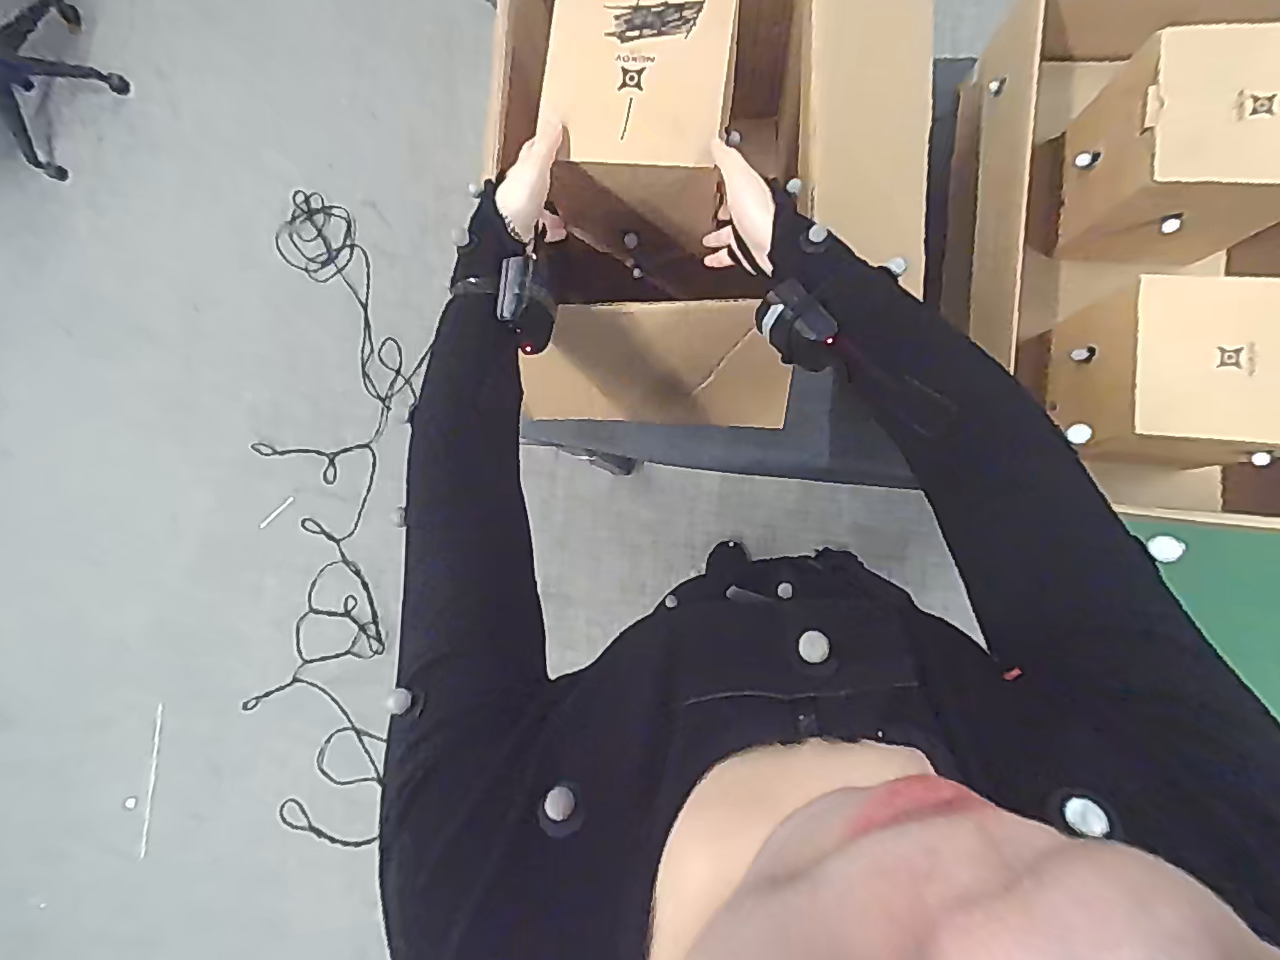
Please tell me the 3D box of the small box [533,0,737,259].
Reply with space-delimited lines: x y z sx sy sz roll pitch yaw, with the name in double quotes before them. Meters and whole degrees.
"small box" 0.003 -0.358 0.563 0.168 0.176 0.179 7 89 7
